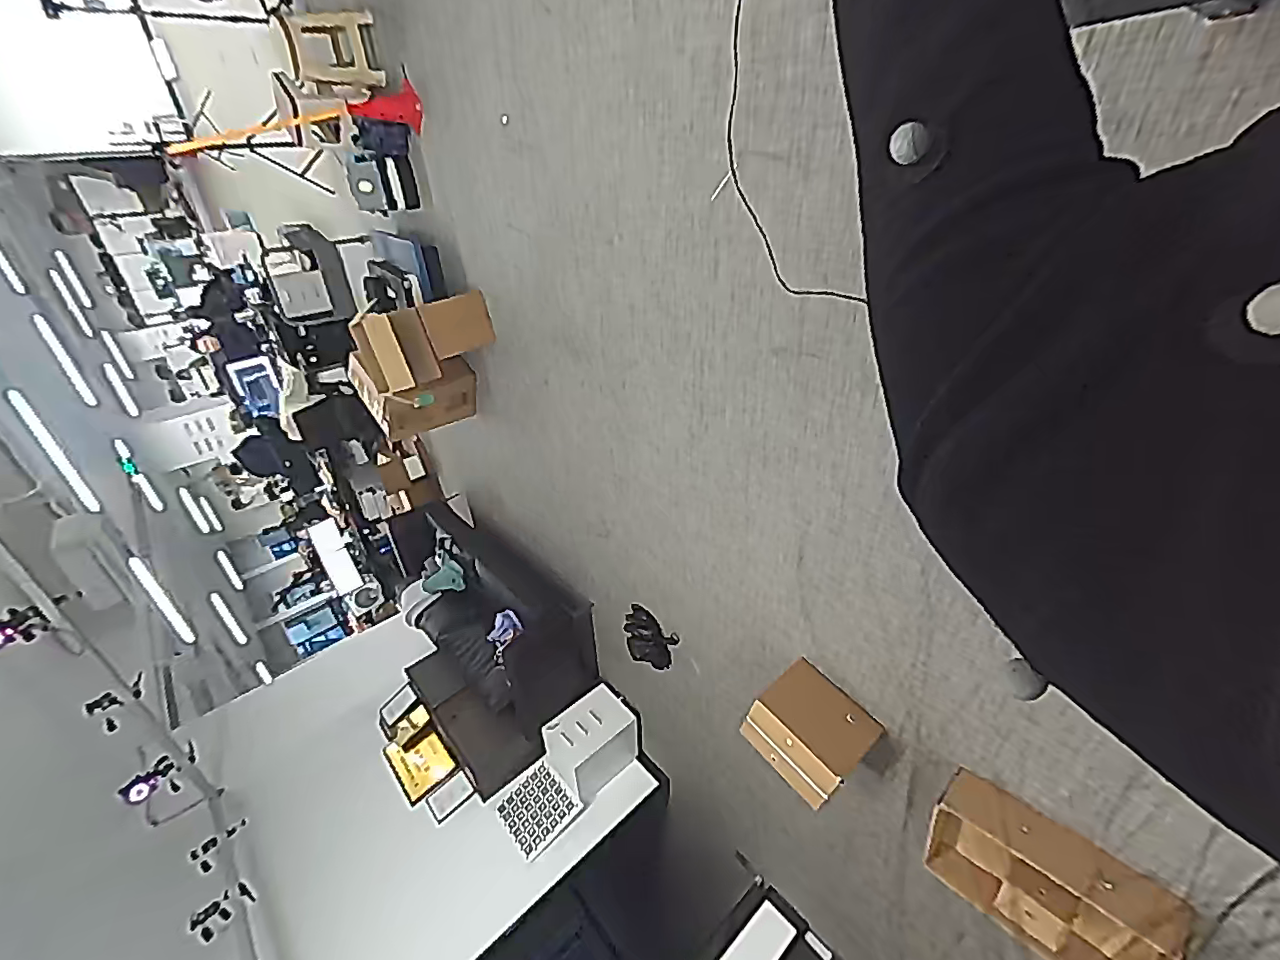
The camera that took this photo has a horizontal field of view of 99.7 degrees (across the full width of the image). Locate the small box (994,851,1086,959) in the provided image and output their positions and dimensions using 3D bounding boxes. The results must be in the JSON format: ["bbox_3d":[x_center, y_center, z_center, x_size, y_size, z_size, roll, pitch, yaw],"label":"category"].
[{"bbox_3d":[1.252,1.323,1.689,0.179,0.176,0.168,25,131,45],"label":"small box"}]
